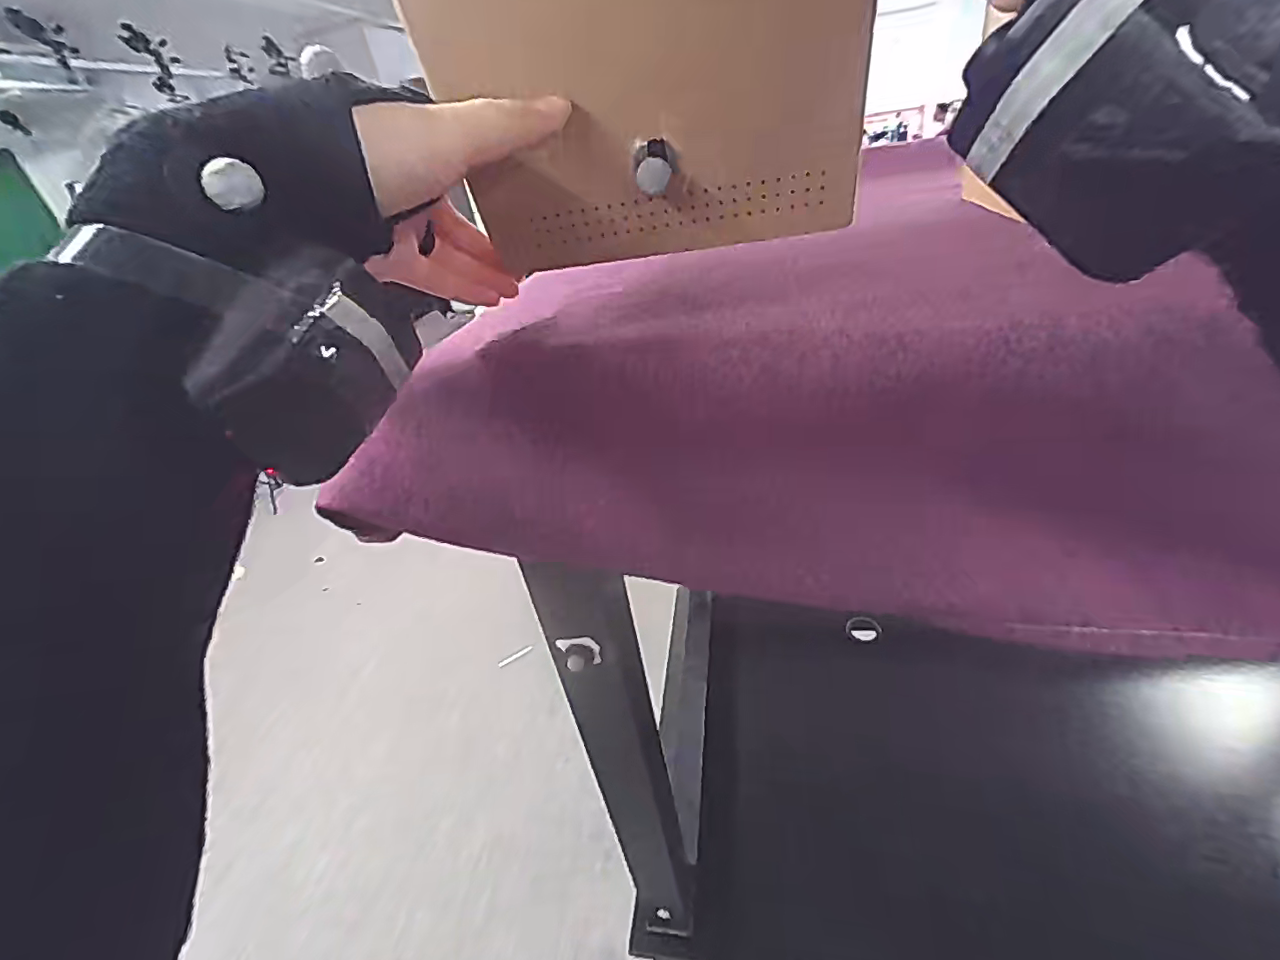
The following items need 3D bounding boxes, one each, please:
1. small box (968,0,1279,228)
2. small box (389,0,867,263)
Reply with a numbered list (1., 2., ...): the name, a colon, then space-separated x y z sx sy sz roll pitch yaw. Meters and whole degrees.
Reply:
1. small box: 0.310 -0.249 0.293 0.179 0.176 0.168 -3 33 12
2. small box: 0.003 -0.224 0.250 0.179 0.176 0.168 -4 47 10
